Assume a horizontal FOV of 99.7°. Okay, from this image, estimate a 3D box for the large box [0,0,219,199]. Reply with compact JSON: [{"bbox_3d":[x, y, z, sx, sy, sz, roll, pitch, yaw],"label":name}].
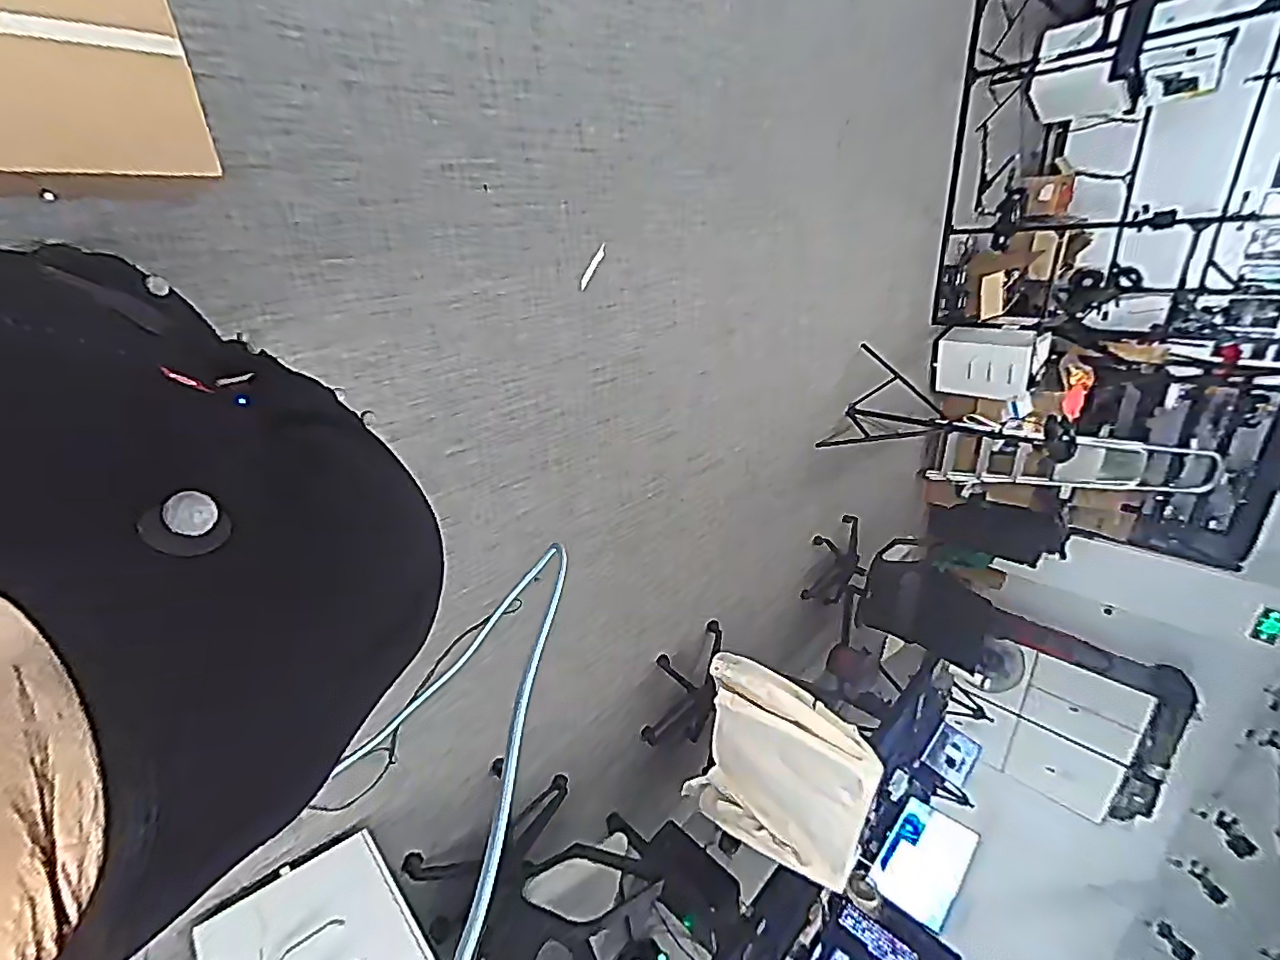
[{"bbox_3d":[-0.889,-0.569,0.731,0.408,0.320,0.320,-25,122,-39],"label":"large box"}]
